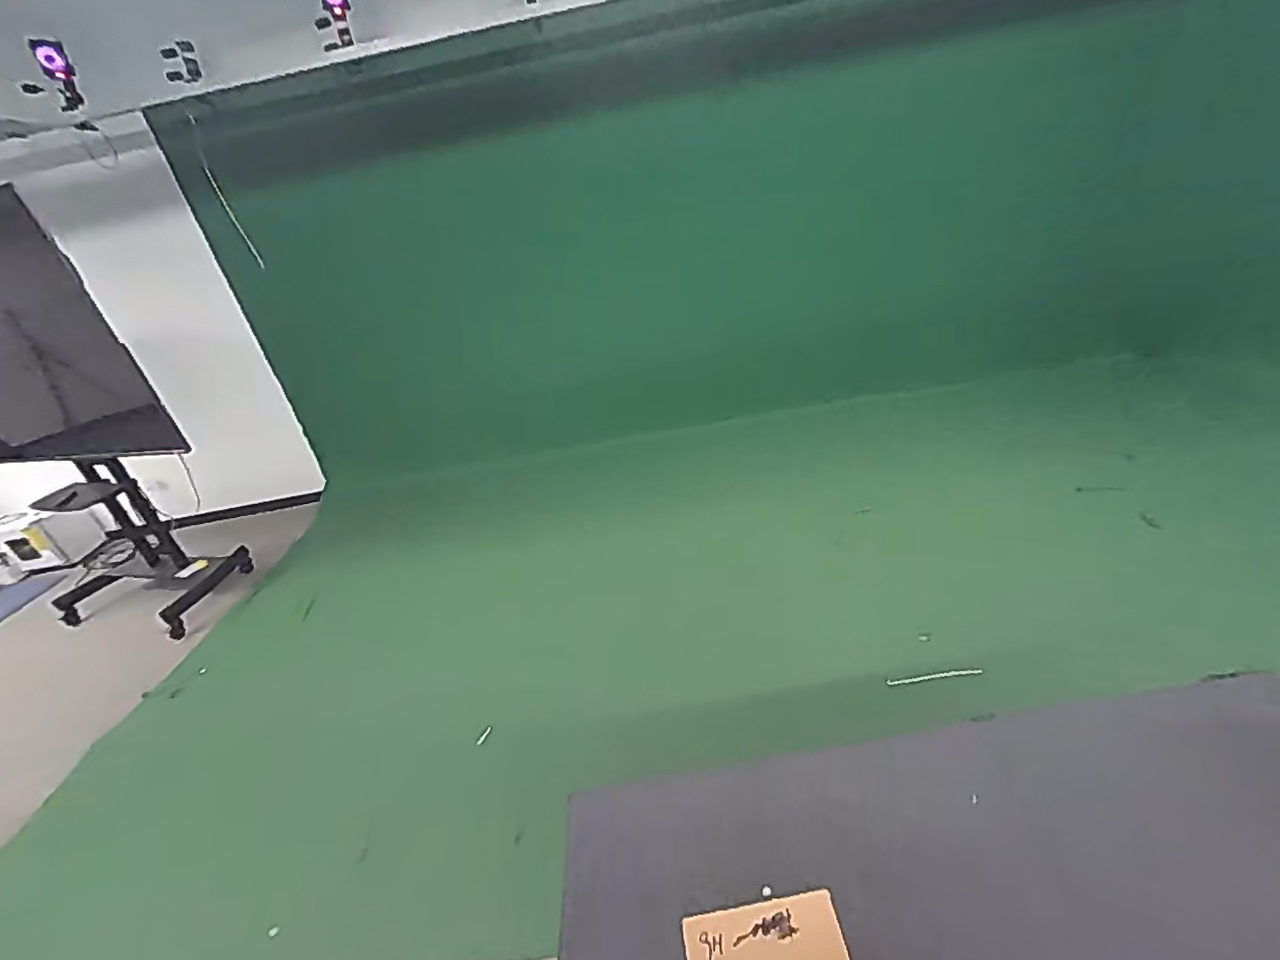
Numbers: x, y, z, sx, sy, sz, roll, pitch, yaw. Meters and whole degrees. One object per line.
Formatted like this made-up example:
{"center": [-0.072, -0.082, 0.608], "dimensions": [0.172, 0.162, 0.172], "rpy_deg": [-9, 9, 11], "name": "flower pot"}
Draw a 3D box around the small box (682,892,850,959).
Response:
{"center": [0.147, 0.572, 0.580], "dimensions": [0.168, 0.176, 0.179], "rpy_deg": [-11, 46, 0], "name": "small box"}
